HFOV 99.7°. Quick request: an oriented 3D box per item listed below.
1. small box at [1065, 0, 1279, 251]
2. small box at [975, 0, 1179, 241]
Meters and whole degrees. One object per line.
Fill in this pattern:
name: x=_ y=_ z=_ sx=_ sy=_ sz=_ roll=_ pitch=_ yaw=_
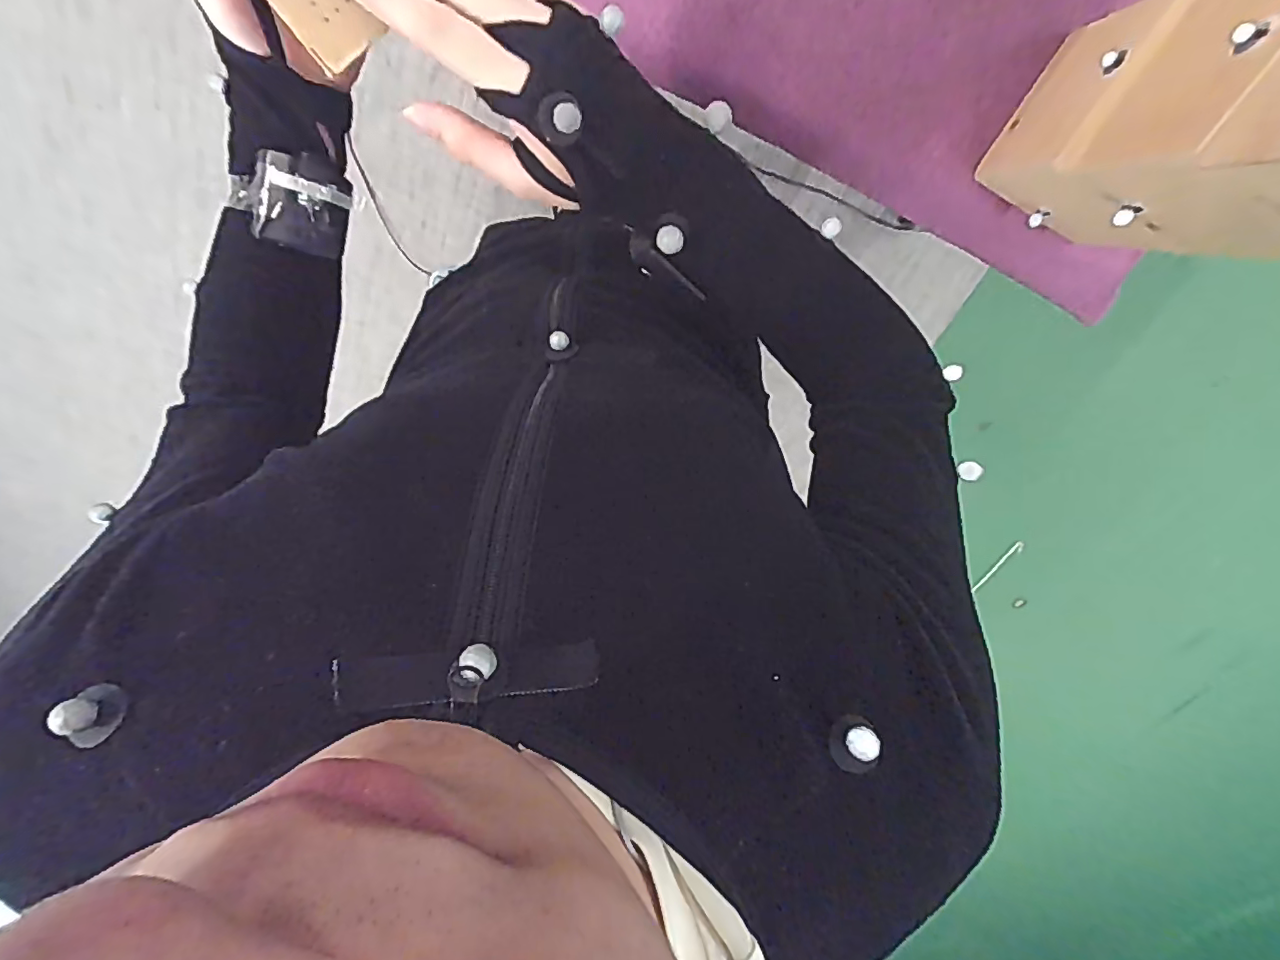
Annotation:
small box: x=0.518 y=-0.314 z=0.445 sx=0.168 sy=0.176 sz=0.179 roll=26 pitch=117 yaw=-8
small box: x=0.524 y=-0.388 z=0.590 sx=0.179 sy=0.176 sz=0.168 roll=25 pitch=116 yaw=-10
